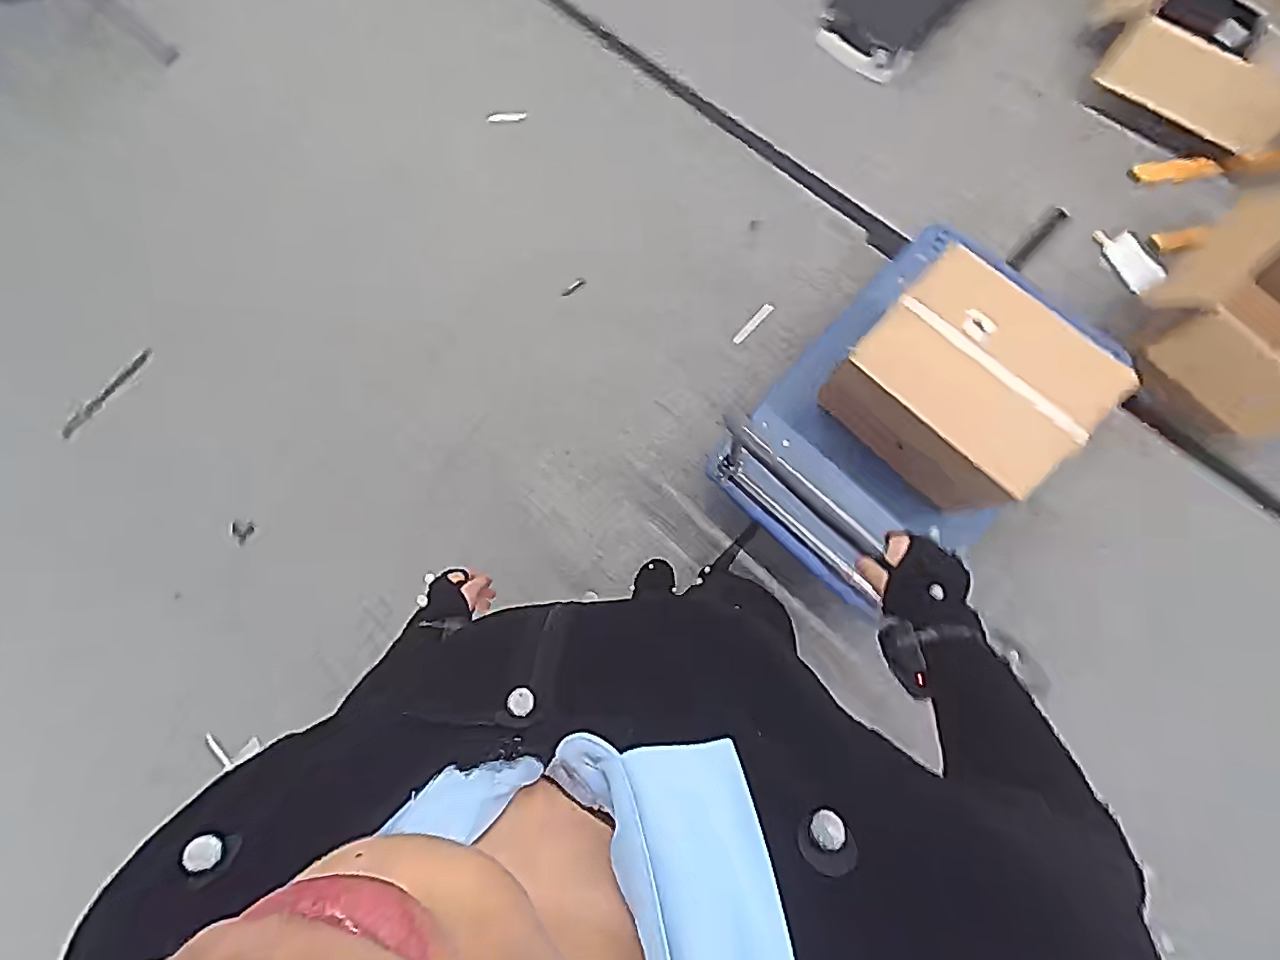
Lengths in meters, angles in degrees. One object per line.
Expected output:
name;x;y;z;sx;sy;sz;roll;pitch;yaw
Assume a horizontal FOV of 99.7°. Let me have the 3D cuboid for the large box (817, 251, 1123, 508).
large box;0.662;-0.191;1.168;0.408;0.320;0.320;44;88;12
